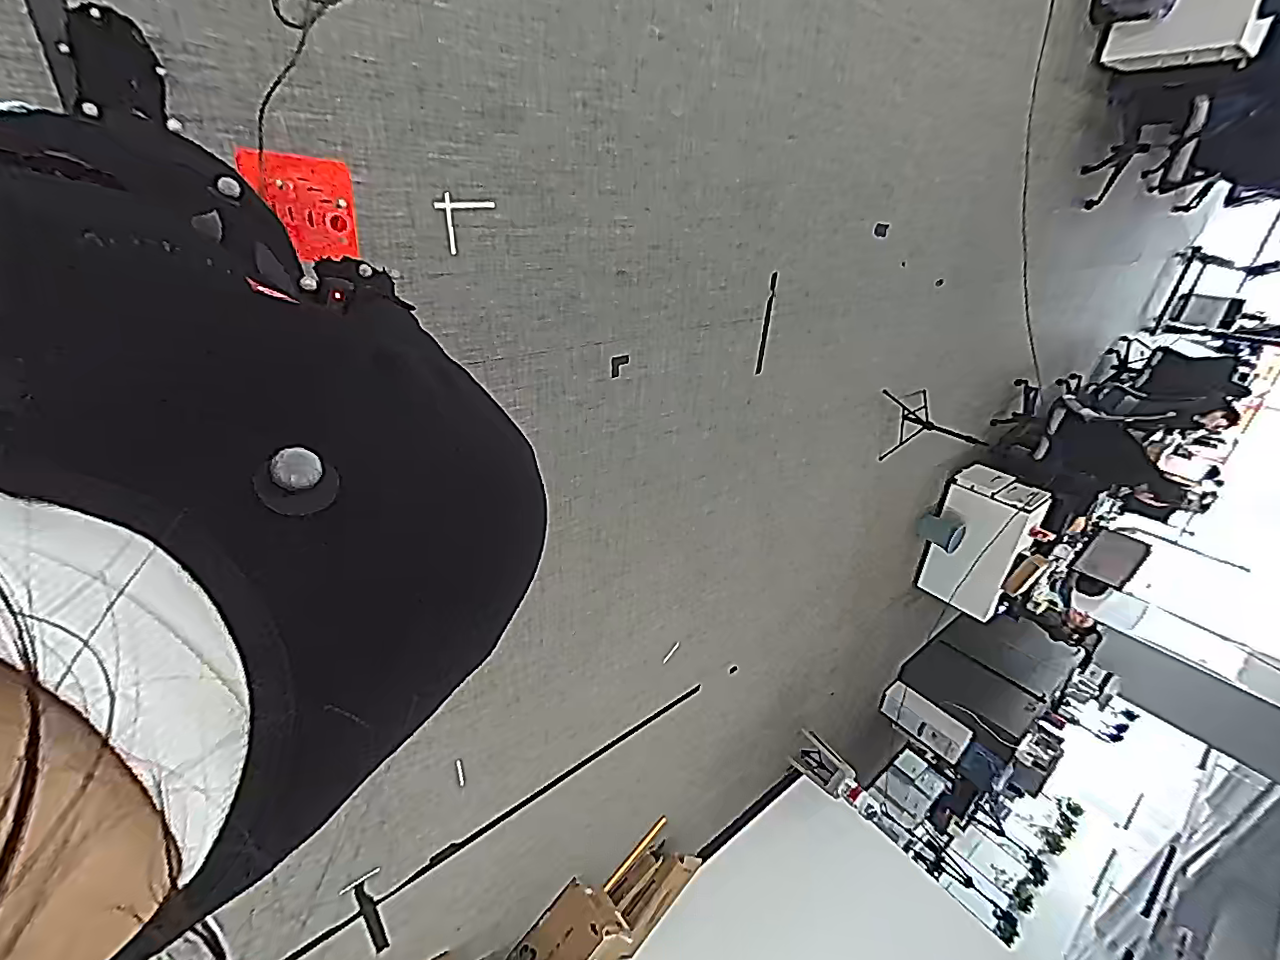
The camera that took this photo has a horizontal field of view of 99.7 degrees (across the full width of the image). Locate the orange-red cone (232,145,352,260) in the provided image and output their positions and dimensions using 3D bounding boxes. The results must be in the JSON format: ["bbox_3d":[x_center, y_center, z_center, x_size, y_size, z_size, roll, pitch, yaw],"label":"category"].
[{"bbox_3d":[-0.601,-0.490,0.995,0.199,0.360,0.198,-14,124,-37],"label":"orange-red cone"}]

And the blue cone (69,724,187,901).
[{"bbox_3d":[-1.166,0.768,1.233,0.192,0.380,0.193,-13,121,-35],"label":"blue cone"}]
